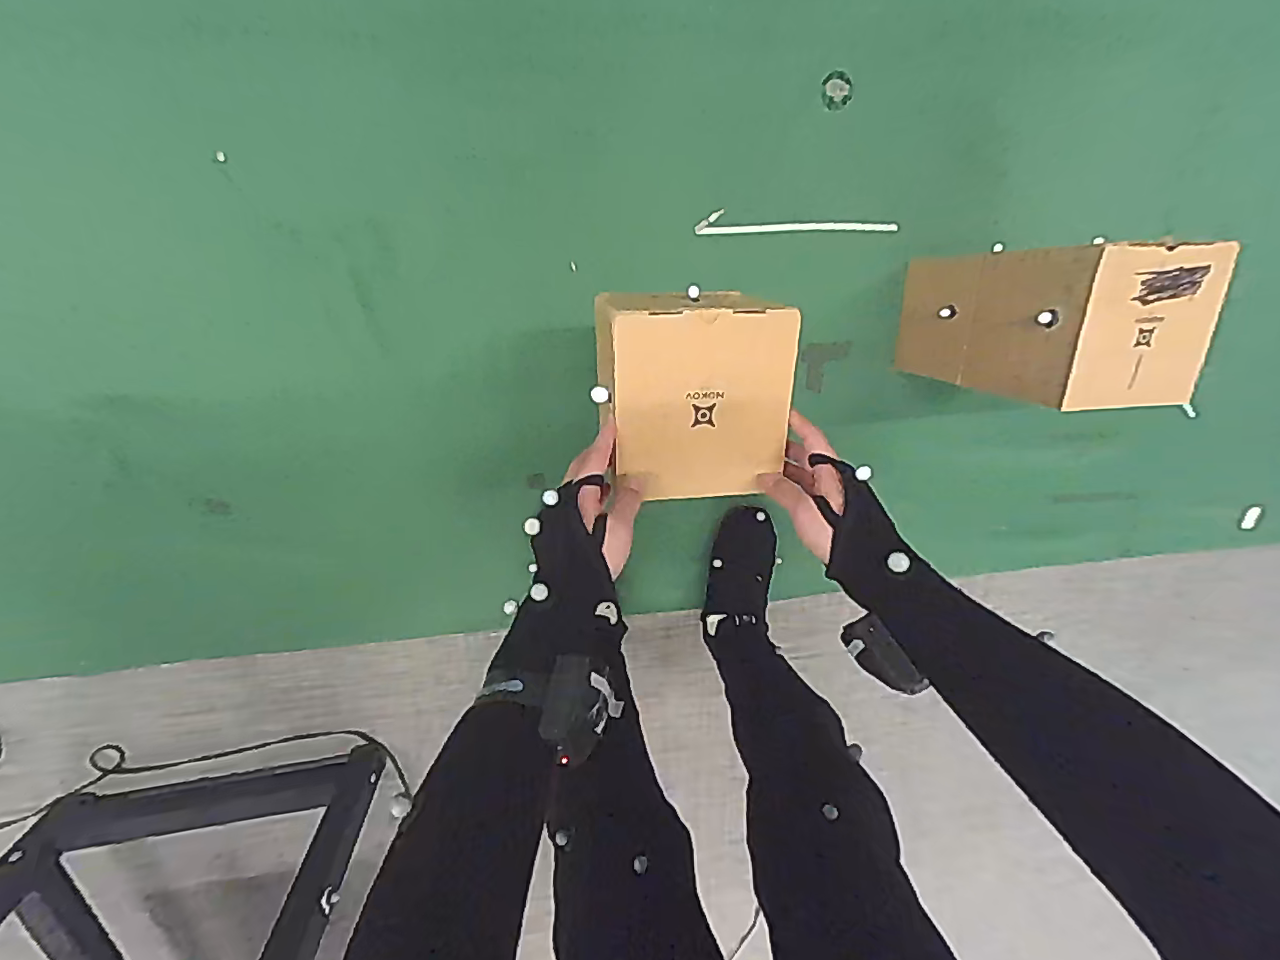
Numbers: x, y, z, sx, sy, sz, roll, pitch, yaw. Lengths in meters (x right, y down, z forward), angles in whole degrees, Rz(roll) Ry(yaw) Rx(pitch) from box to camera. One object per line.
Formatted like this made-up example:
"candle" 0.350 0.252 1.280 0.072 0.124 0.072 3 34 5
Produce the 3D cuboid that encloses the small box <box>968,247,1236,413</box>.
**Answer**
"small box" 0.545 -0.187 0.668 0.168 0.176 0.179 -3 110 -7

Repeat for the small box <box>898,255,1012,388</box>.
"small box" 0.520 -0.241 0.821 0.168 0.176 0.179 -3 110 -7

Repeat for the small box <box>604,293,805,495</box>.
"small box" 0.052 -0.098 0.566 0.168 0.176 0.179 -3 112 -8
